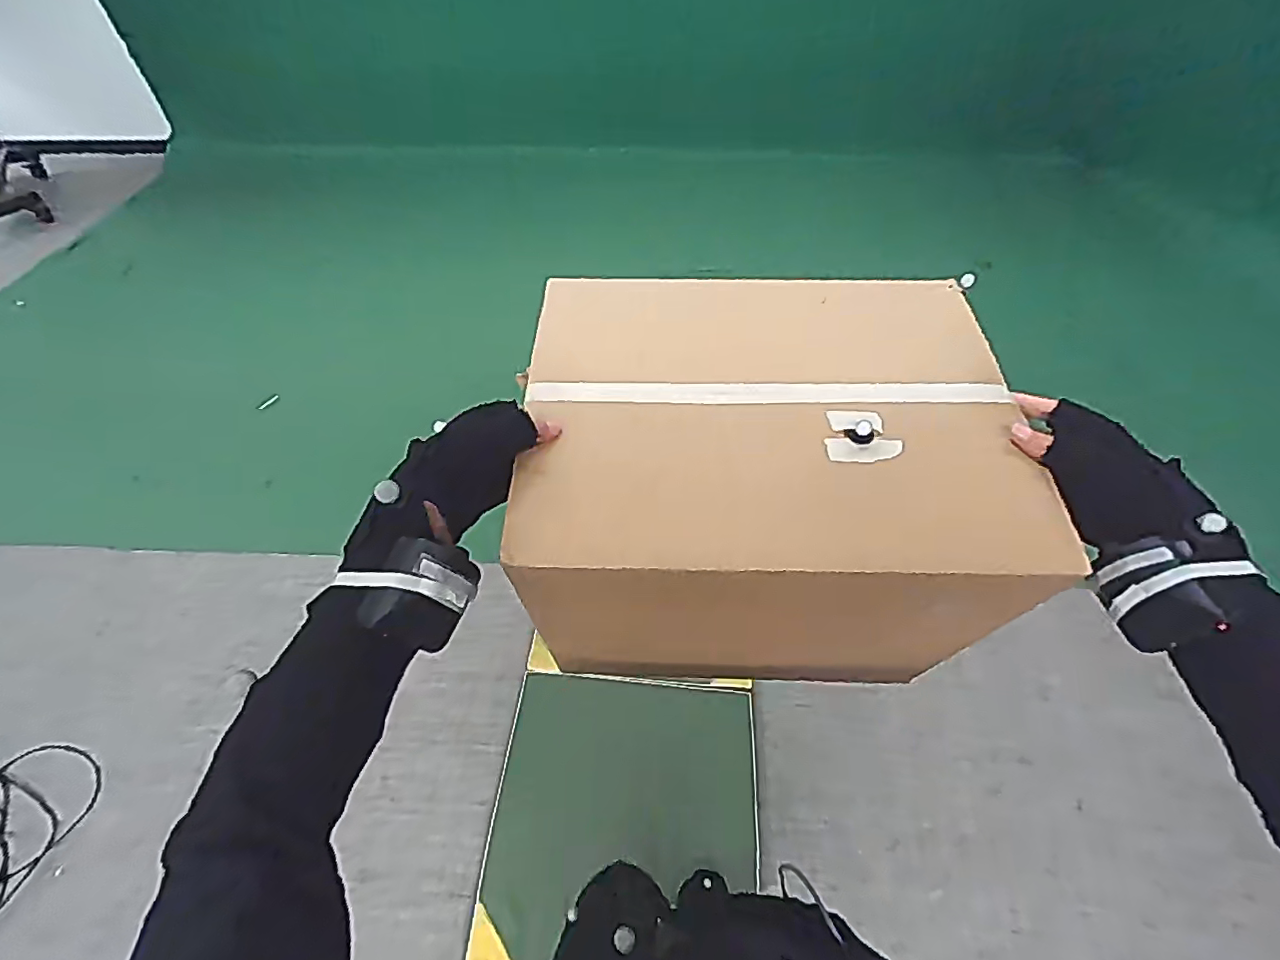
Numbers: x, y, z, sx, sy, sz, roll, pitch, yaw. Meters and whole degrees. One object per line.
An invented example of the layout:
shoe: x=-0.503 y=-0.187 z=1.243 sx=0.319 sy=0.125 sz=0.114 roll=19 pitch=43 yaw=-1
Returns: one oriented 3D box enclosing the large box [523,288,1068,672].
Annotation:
large box: x=0.110 y=0.014 z=0.592 sx=0.408 sy=0.320 sz=0.320 roll=1 pitch=57 yaw=0
